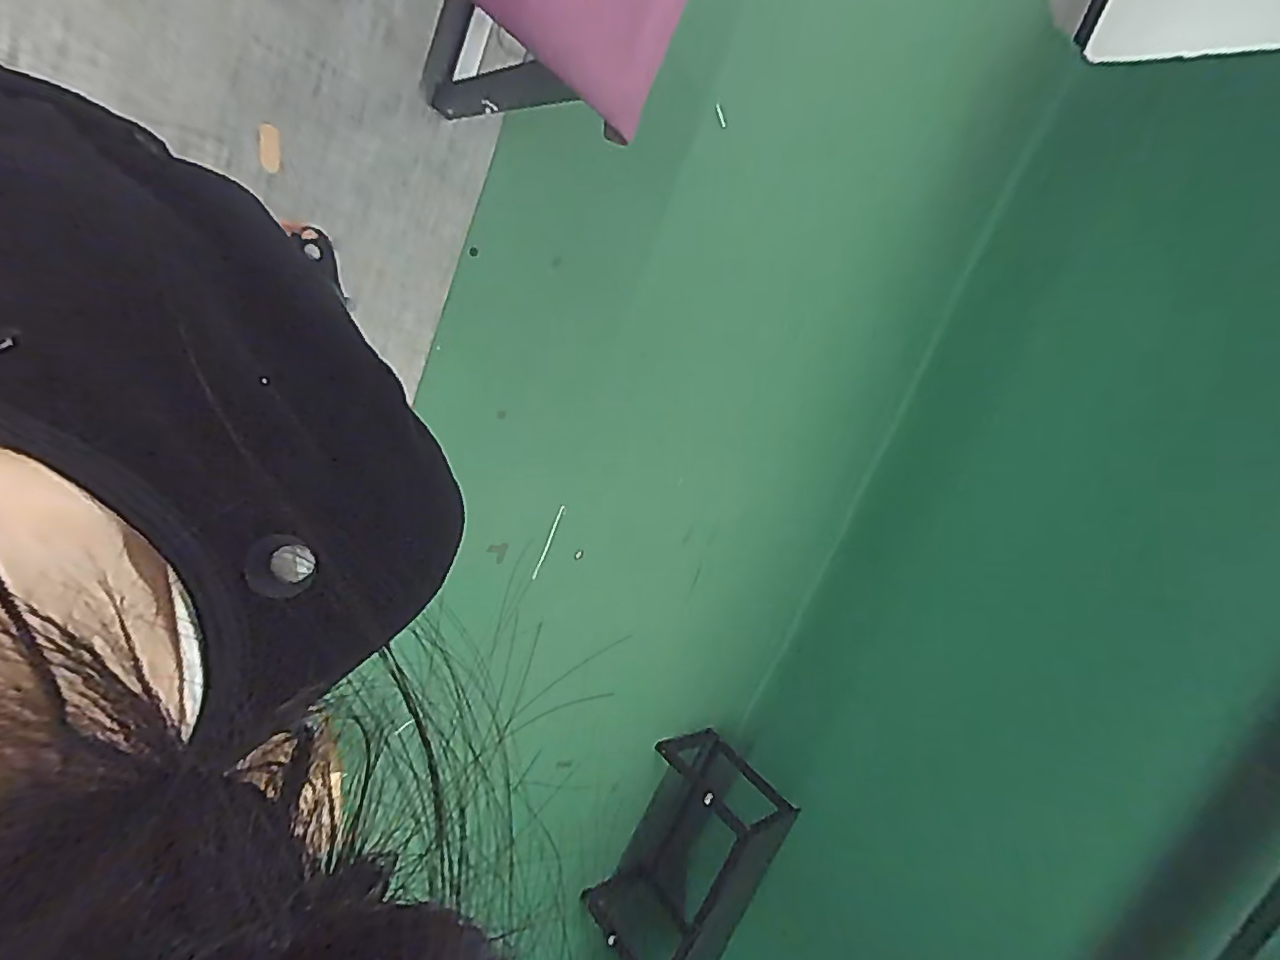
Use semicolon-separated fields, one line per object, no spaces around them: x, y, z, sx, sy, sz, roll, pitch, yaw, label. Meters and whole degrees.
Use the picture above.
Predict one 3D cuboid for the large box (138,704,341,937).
-1.095;0.903;1.497;0.408;0.320;0.320;-7;118;-43;large box
